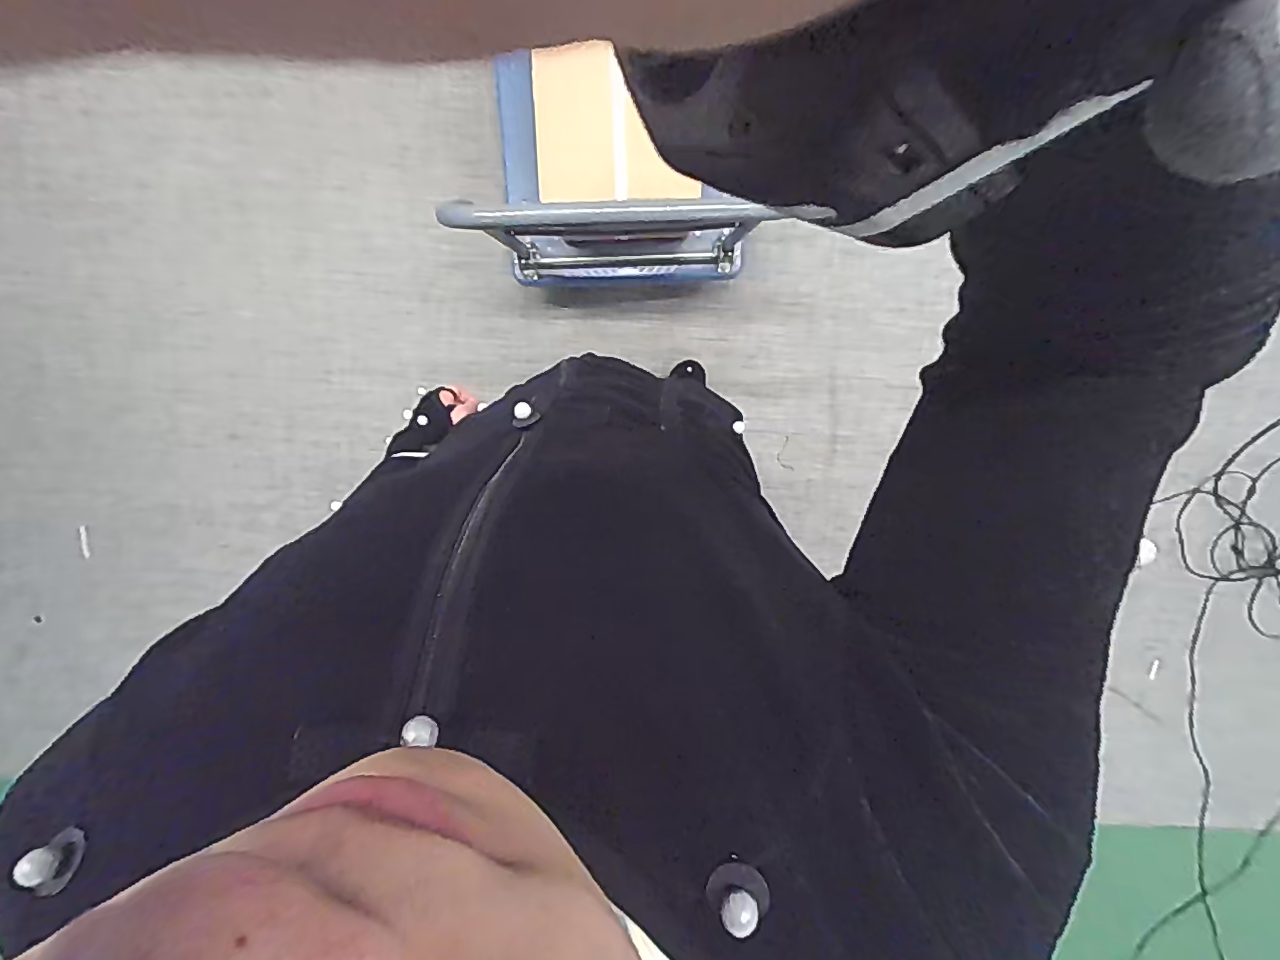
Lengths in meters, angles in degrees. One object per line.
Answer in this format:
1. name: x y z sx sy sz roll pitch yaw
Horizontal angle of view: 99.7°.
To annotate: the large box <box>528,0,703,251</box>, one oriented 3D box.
1. large box: -0.039 -0.737 1.148 0.320 0.320 0.408 -2 101 1
